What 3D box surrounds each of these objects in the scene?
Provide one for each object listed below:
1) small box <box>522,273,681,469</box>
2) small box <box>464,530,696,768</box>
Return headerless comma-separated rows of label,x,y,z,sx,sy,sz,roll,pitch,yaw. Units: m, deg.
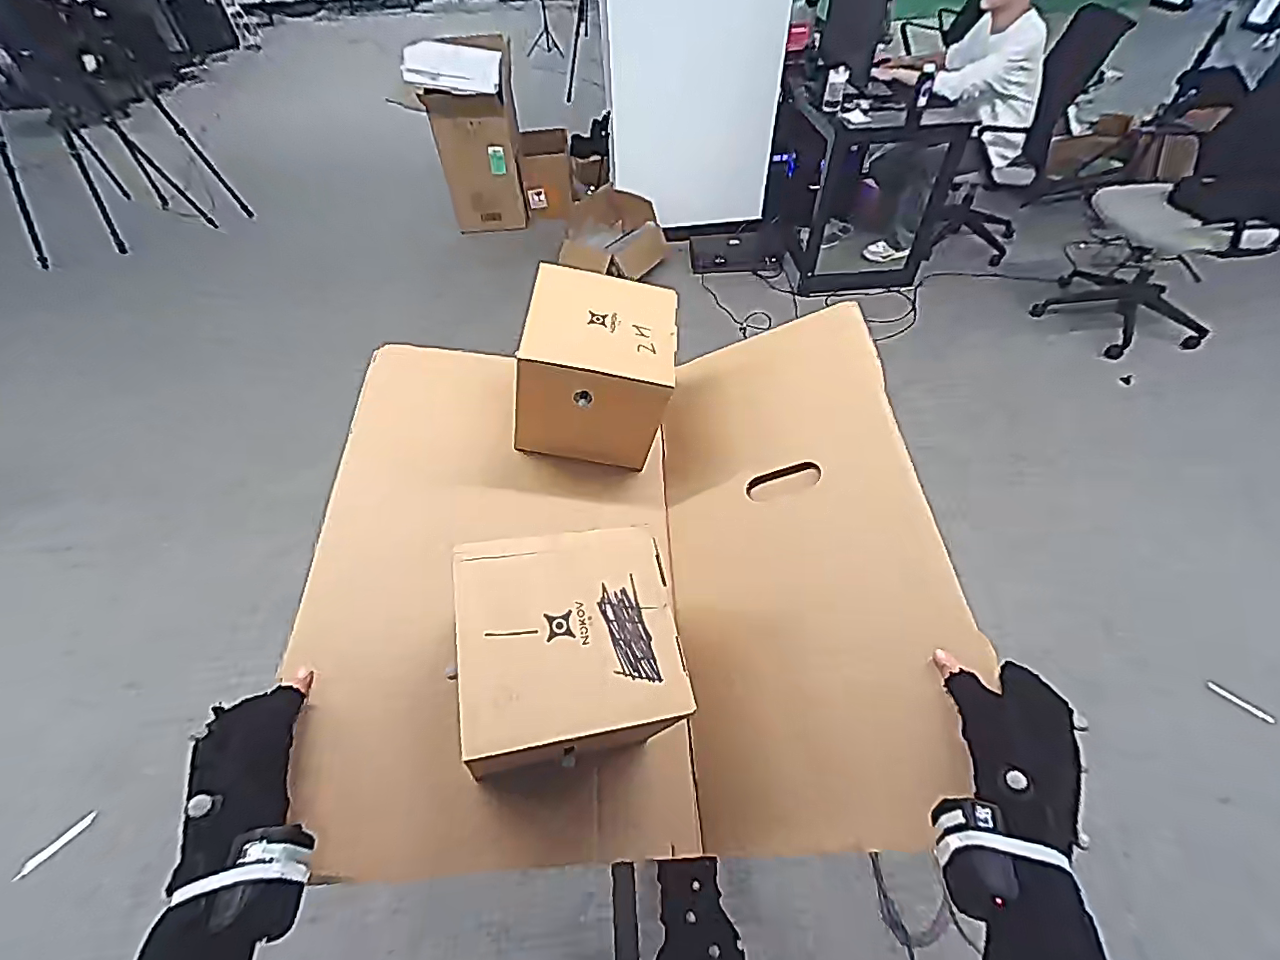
small box,-0.054,-0.133,0.705,0.179,0.176,0.168,10,56,-8
small box,-0.069,0.162,0.511,0.179,0.176,0.168,-4,60,-16
